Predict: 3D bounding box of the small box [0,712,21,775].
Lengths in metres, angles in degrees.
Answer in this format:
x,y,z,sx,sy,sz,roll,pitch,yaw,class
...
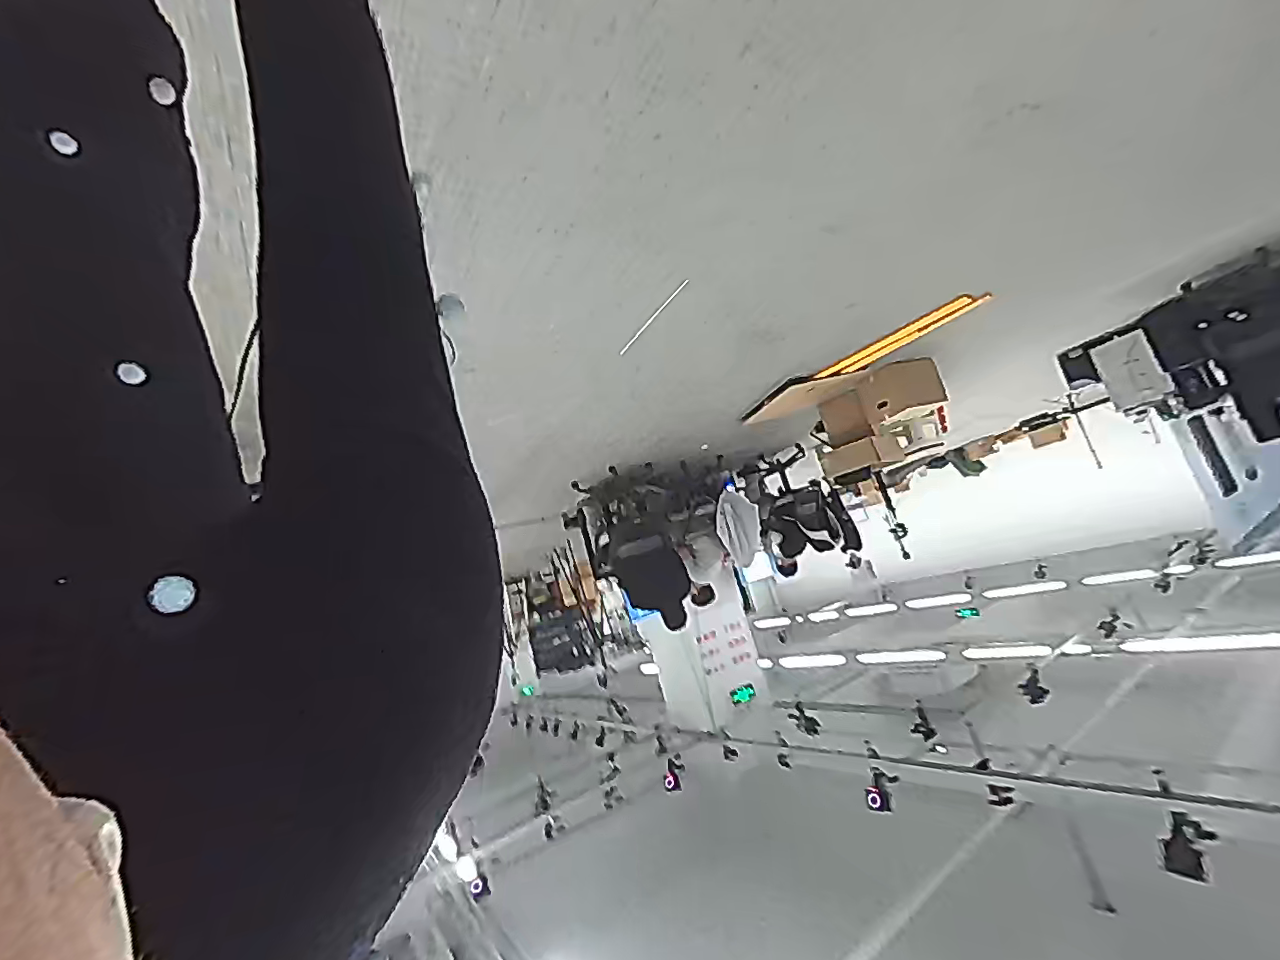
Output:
x,y,z,sx,sy,sz,roll,pitch,yaw,class
-1.872,0.758,1.500,0.168,0.176,0.179,-8,166,-39,small box
